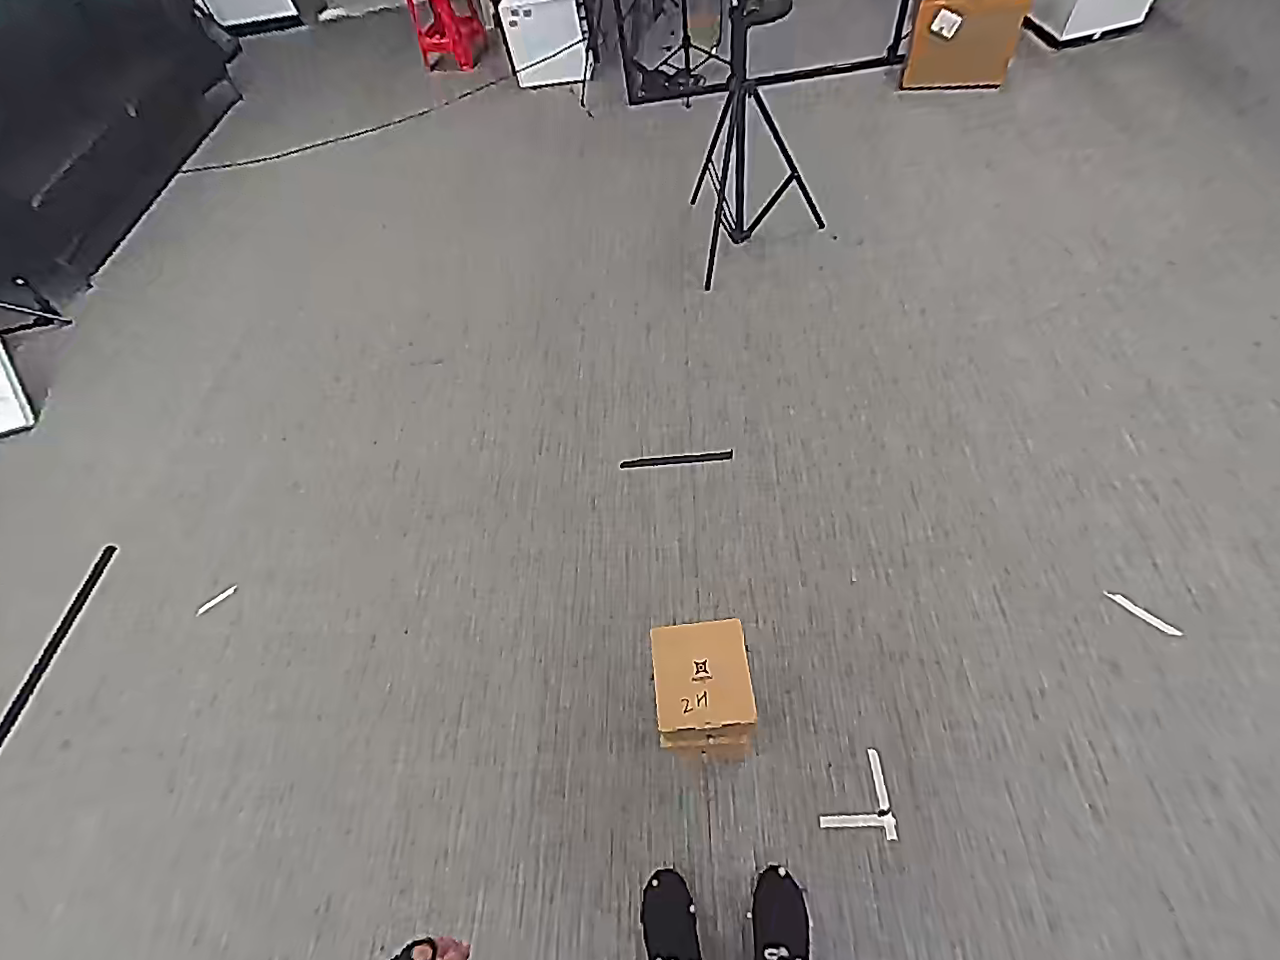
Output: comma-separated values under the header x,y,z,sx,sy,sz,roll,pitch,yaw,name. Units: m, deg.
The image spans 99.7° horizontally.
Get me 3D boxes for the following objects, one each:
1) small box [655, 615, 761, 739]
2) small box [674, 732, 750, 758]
x,y,z,sx,sy,sz,roll,pitch,yaw,name
0.122,0.366,0.994,0.168,0.176,0.179,-8,59,5,small box
0.164,0.544,1.268,0.168,0.176,0.179,-5,58,6,small box
